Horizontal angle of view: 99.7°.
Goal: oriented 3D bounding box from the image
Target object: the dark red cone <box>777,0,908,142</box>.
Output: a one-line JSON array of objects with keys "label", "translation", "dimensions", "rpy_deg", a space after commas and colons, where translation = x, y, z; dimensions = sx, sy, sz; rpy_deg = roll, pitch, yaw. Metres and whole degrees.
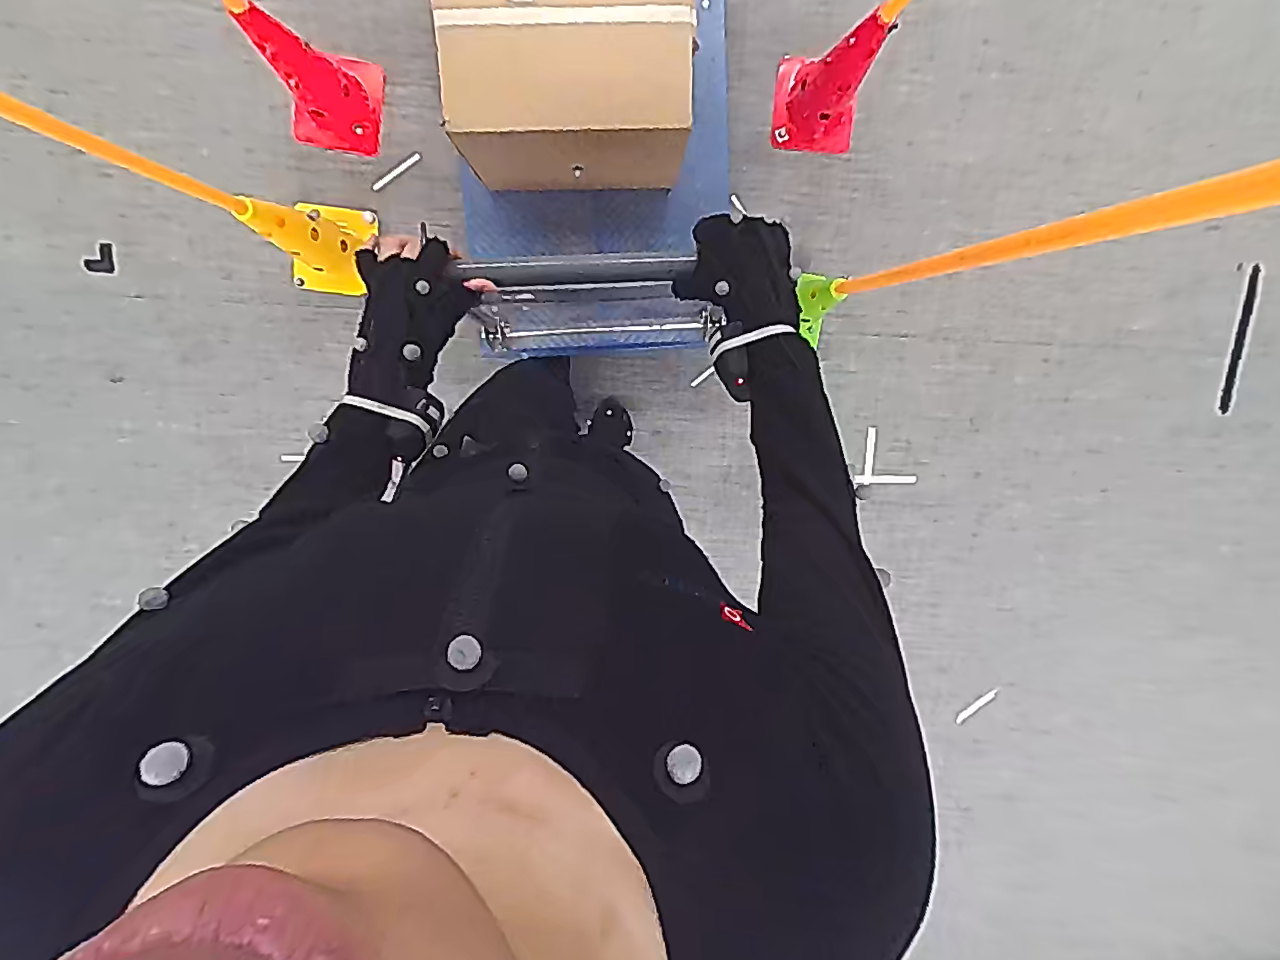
[{"label": "dark red cone", "translation": [0.438, -0.884, 1.122], "dimensions": [0.201, 0.394, 0.202], "rpy_deg": [2, 102, -5]}]

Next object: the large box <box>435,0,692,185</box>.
[{"label": "large box", "translation": [-0.123, -0.757, 0.994], "dimensions": [0.408, 0.320, 0.320], "rpy_deg": [-2, 102, -1]}]

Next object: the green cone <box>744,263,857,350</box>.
[{"label": "green cone", "translation": [0.388, -0.414, 1.231], "dimensions": [0.202, 0.368, 0.200], "rpy_deg": [6, 101, -5]}]

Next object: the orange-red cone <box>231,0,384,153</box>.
[{"label": "orange-red cone", "translation": [-0.696, -0.858, 1.096], "dimensions": [0.198, 0.360, 0.199], "rpy_deg": [10, 99, -6]}]
